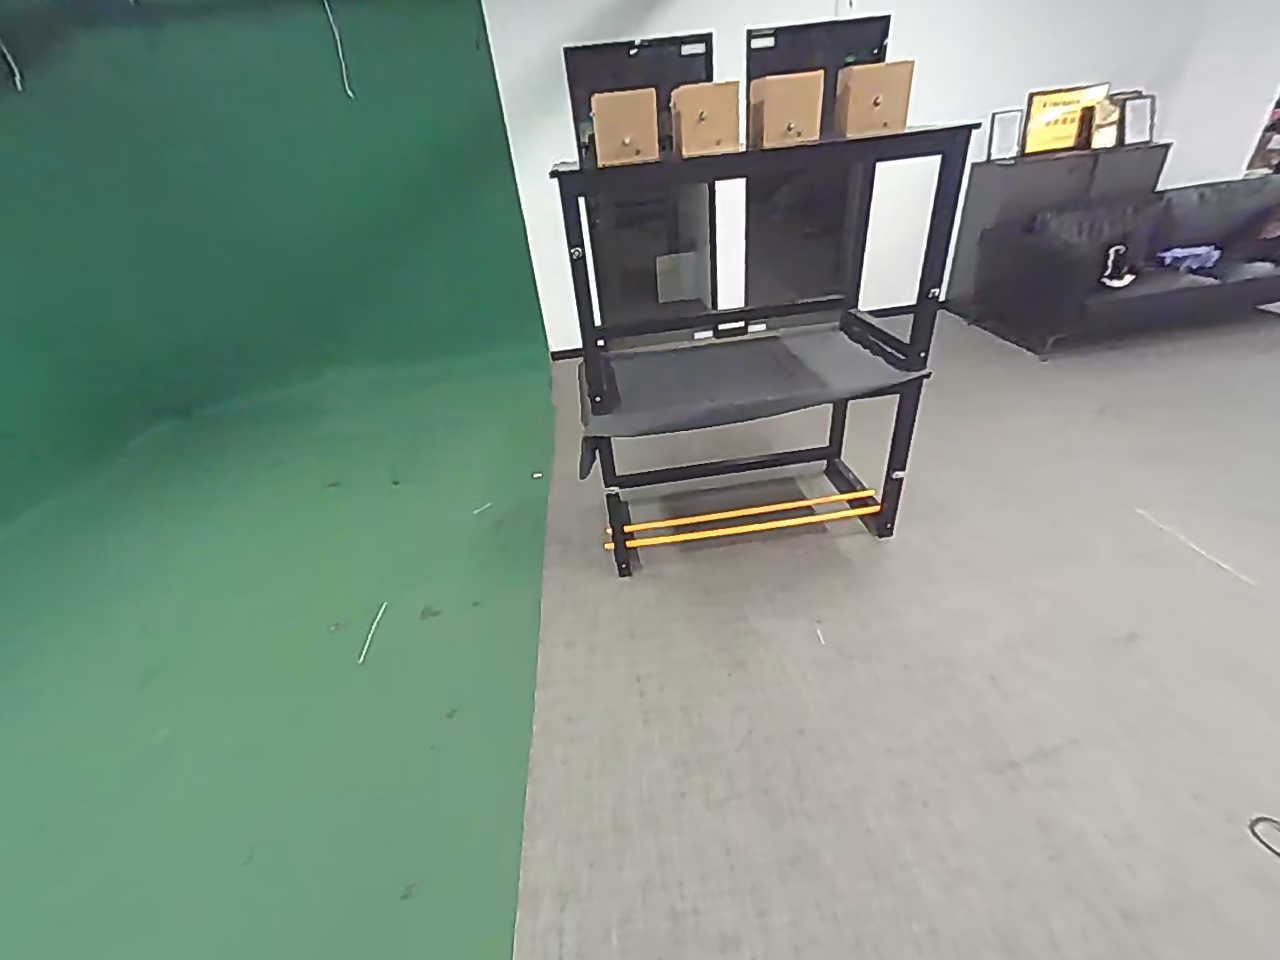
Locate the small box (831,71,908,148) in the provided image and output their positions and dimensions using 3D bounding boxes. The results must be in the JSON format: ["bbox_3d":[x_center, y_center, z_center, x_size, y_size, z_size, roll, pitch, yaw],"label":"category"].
[{"bbox_3d":[0.671,-1.091,1.602,0.168,0.176,0.179,-2,32,7],"label":"small box"}]

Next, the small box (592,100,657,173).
[{"bbox_3d":[-0.047,-1.004,1.588,0.168,0.176,0.179,-9,33,-4],"label":"small box"}]
